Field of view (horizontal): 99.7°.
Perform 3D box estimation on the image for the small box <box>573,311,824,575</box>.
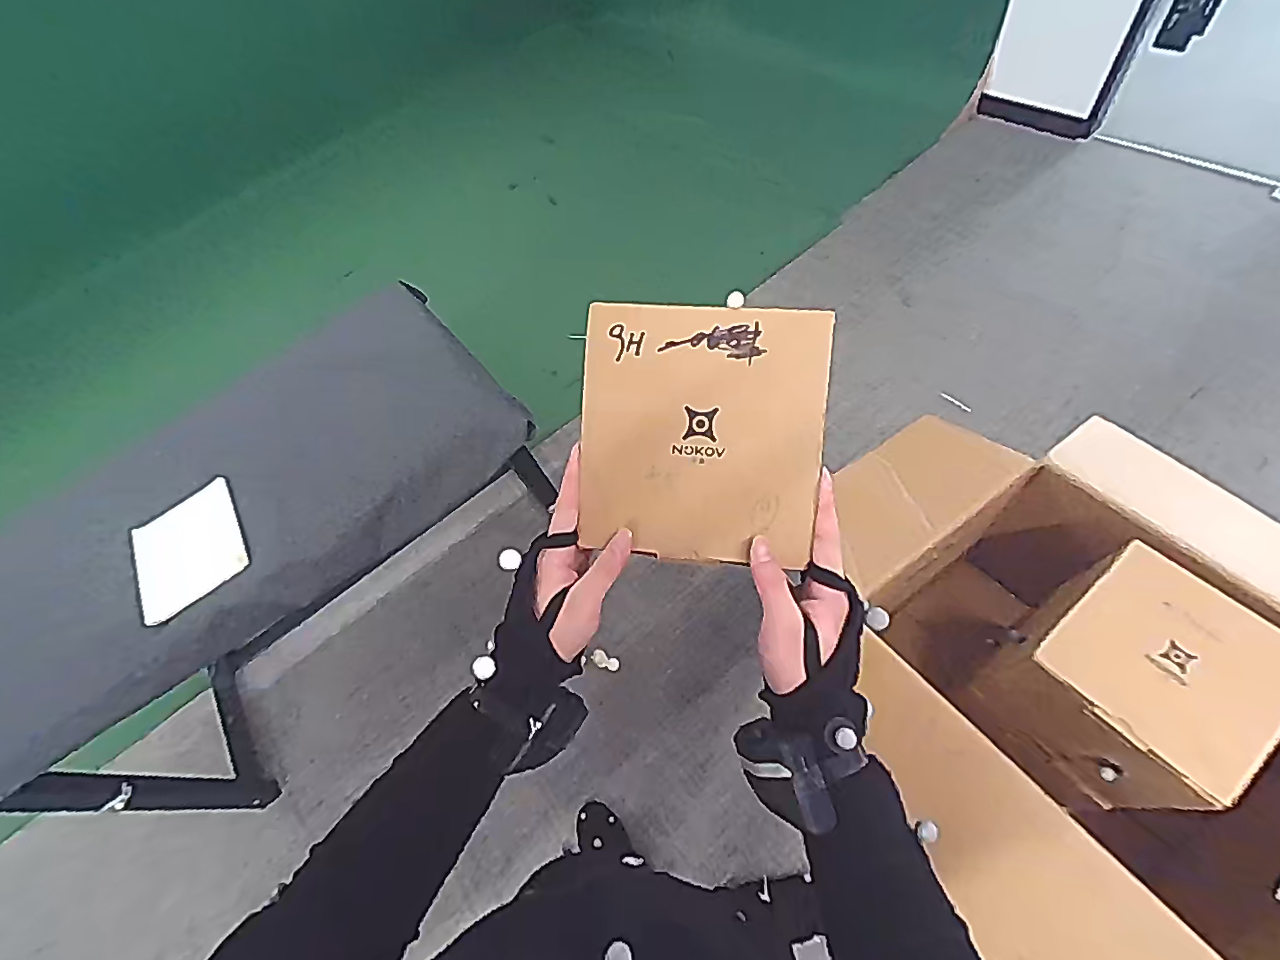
[{"bbox_3d":[0.047,-0.037,0.455,0.168,0.176,0.179,5,98,7],"label":"small box"}]
